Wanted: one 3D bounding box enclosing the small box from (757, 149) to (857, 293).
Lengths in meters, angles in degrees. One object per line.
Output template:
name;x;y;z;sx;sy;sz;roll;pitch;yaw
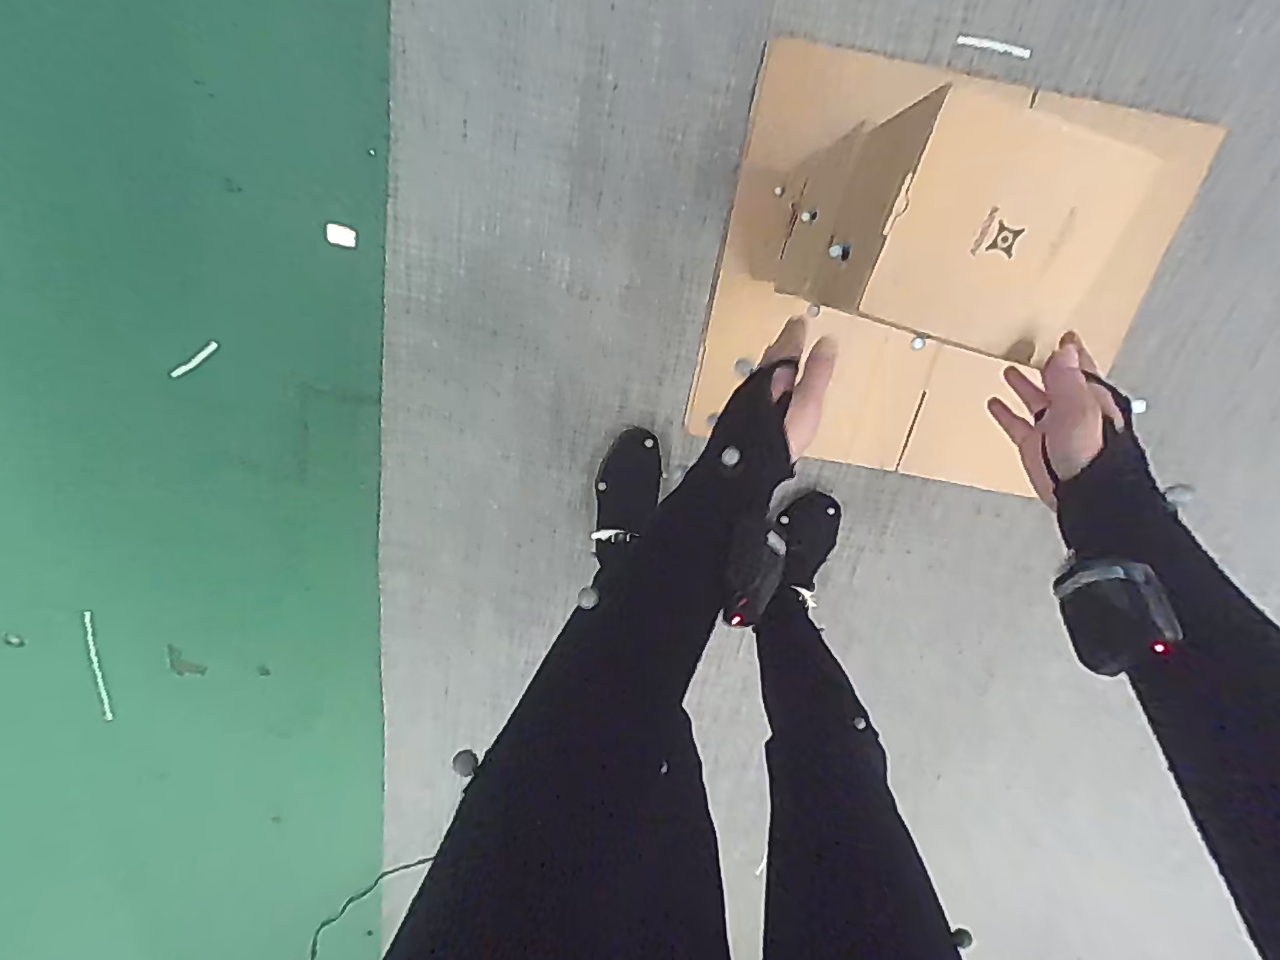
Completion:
small box;0.287;-0.358;0.796;0.179;0.176;0.168;14;112;-4

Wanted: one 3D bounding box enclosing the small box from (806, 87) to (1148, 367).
small box;0.276;-0.220;0.499;0.179;0.176;0.168;16;112;-5
